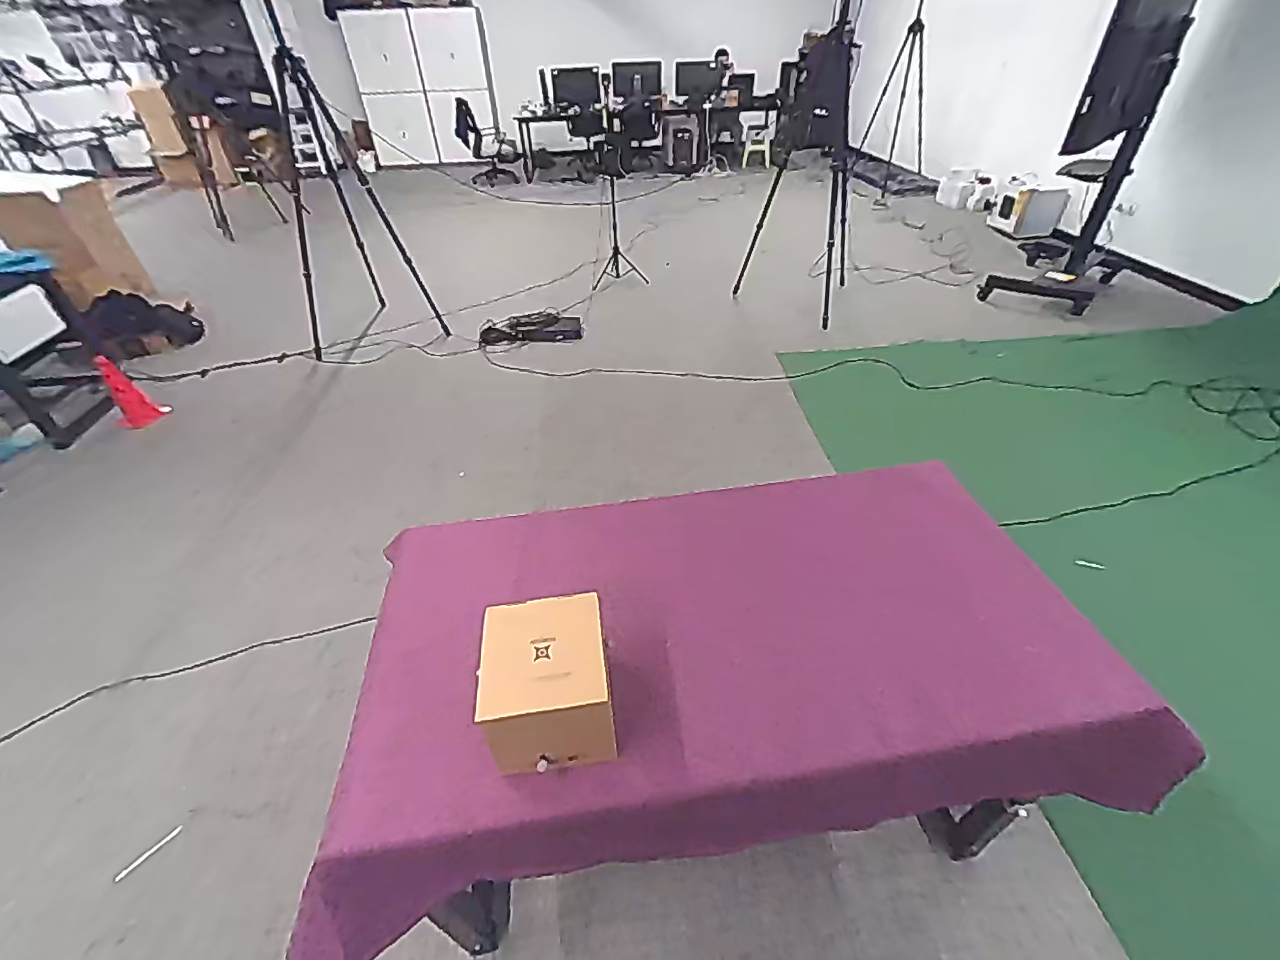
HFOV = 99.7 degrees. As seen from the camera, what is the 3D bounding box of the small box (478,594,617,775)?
[{"bbox_3d":[-0.126,0.293,0.782,0.168,0.176,0.179,-7,41,-4],"label":"small box"}]
